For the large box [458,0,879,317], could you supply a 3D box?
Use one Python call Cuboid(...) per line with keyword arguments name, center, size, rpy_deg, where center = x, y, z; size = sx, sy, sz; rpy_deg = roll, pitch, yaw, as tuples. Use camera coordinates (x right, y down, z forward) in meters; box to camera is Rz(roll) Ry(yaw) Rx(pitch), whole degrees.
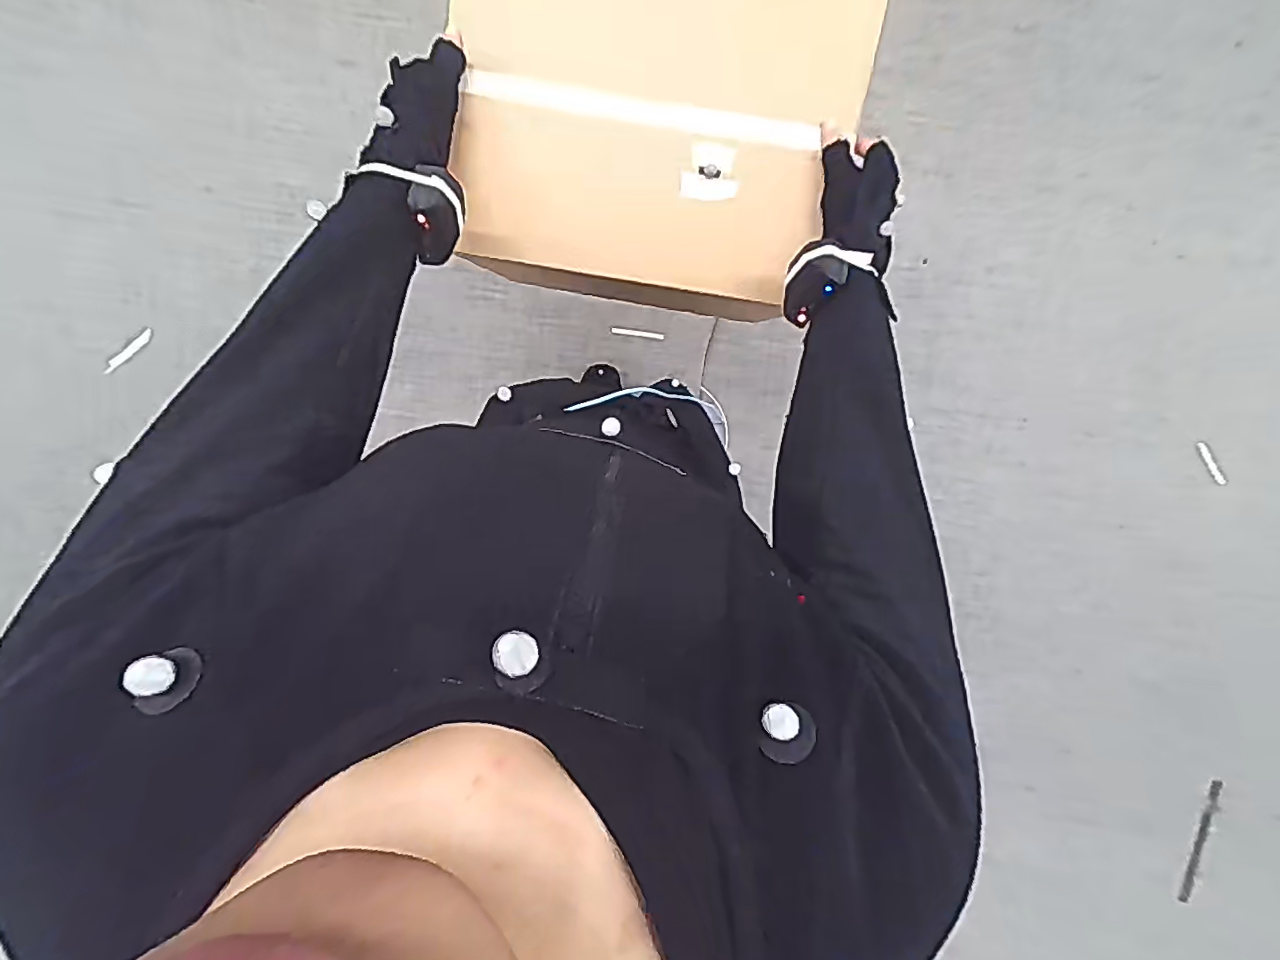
Cuboid(name="large box", center=(0.017, -0.403, 0.698), size=(0.408, 0.320, 0.320), rpy_deg=(9, 105, -2))
